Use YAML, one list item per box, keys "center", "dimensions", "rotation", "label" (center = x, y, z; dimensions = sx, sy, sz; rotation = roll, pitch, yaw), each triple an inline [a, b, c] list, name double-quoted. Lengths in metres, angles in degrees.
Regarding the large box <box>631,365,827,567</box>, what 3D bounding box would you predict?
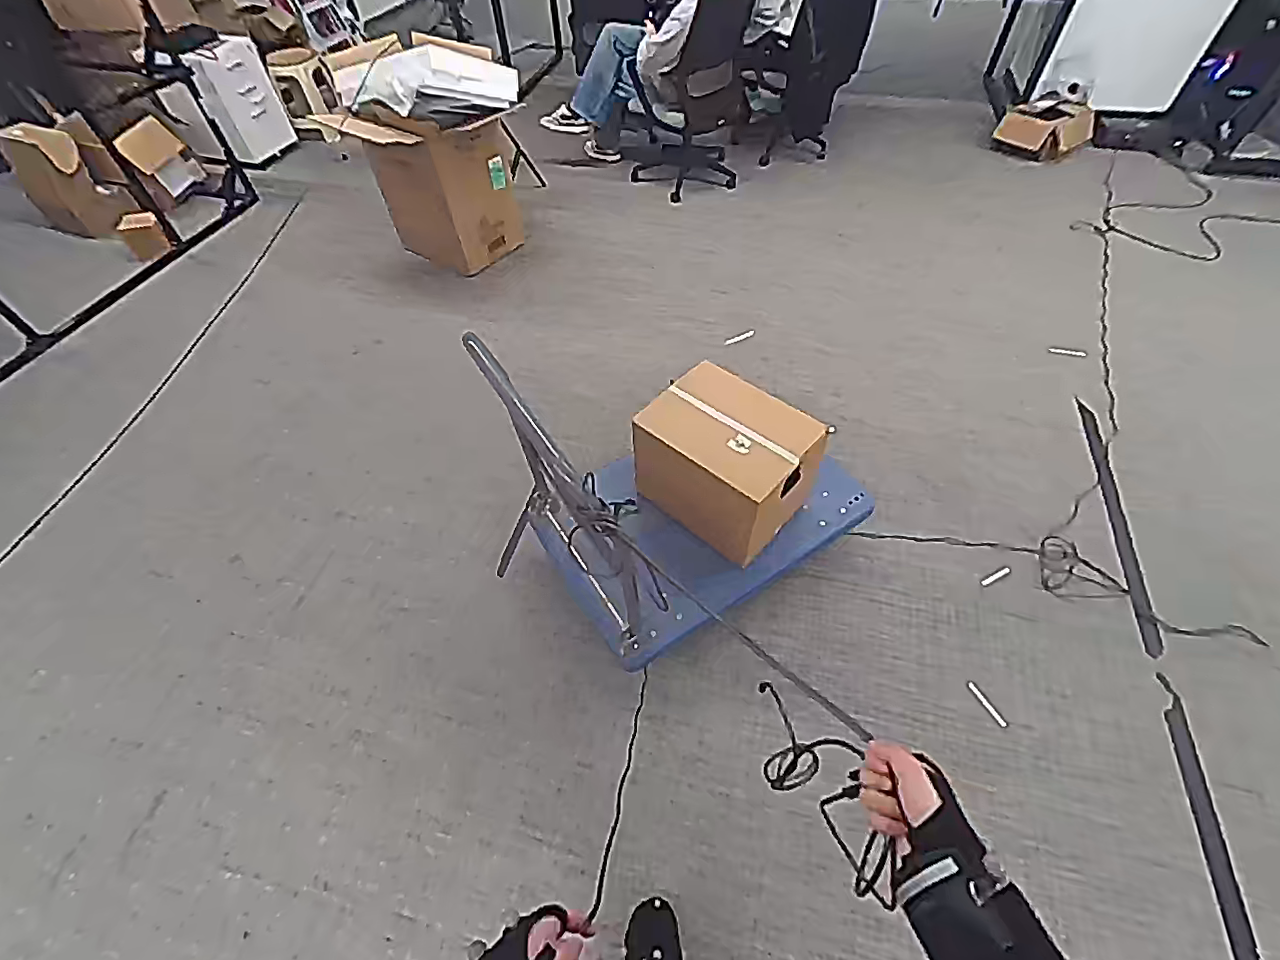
- center: [0.222, -0.042, 1.483]
  dimensions: [0.408, 0.320, 0.320]
  rotation: [35, 62, 25]
  label: "large box"
